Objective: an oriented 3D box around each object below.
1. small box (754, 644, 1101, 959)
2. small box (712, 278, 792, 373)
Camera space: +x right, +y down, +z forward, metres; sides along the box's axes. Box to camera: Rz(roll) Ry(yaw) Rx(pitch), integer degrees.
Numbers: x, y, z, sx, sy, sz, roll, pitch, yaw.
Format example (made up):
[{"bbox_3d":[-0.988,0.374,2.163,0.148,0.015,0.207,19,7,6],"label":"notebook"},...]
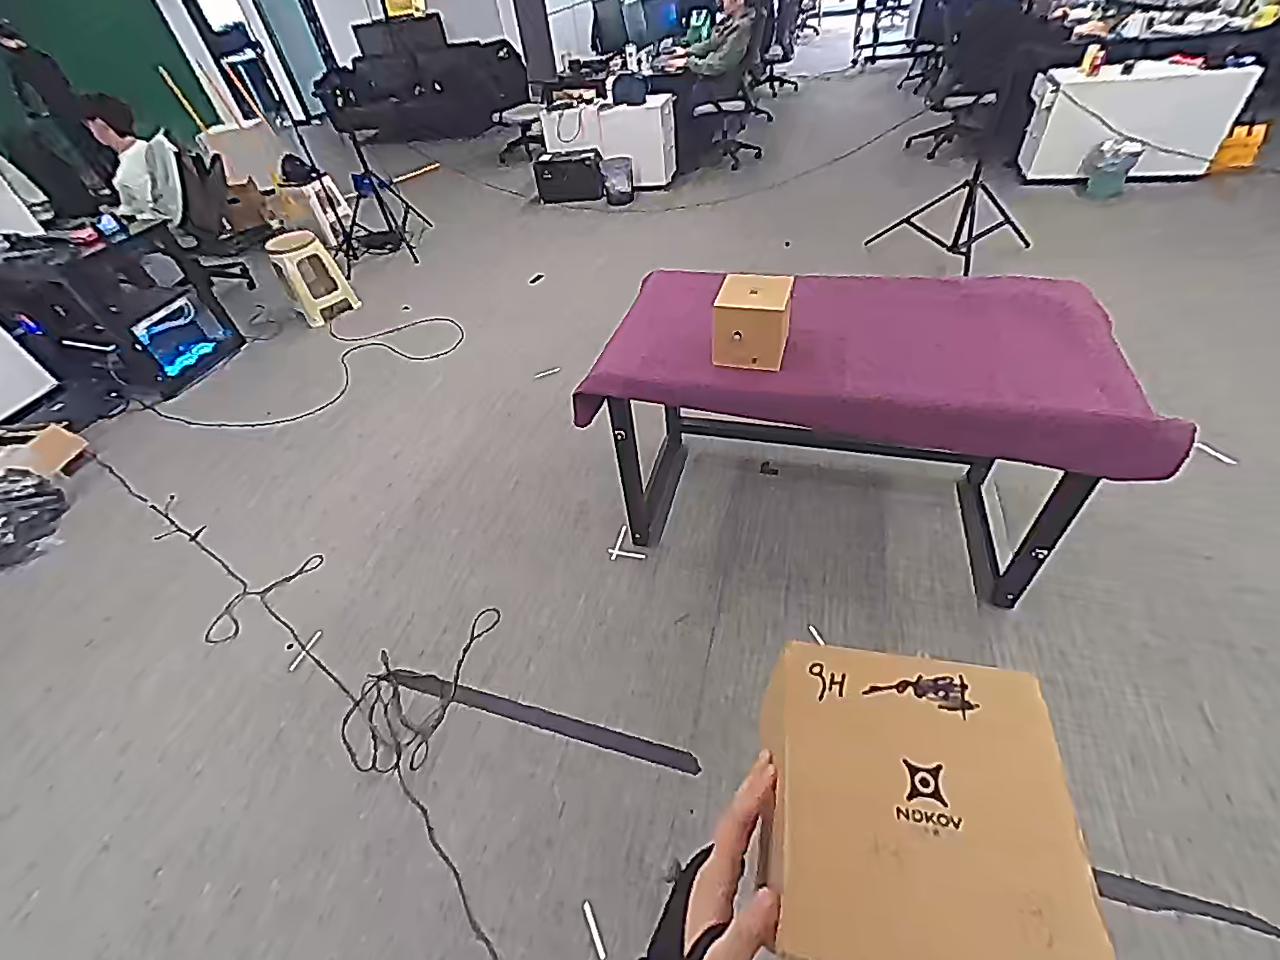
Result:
[{"bbox_3d":[0.176,0.243,0.392,0.168,0.176,0.179,6,54,9],"label":"small box"},{"bbox_3d":[0.280,-0.386,1.354,0.168,0.176,0.179,9,46,16],"label":"small box"}]
